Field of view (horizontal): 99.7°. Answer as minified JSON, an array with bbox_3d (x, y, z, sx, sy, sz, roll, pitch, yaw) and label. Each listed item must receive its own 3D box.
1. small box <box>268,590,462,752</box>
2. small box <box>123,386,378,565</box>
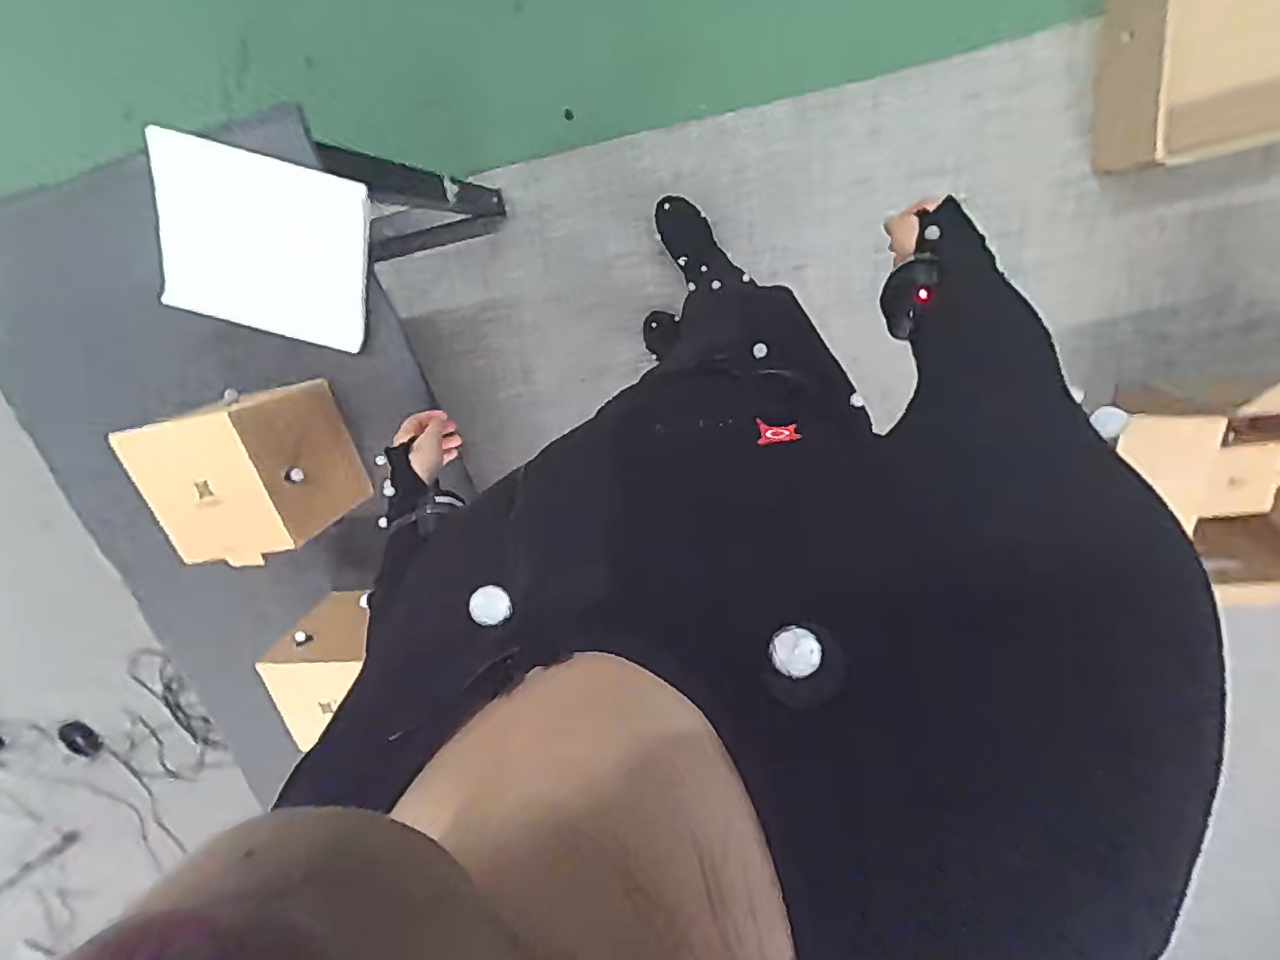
[{"bbox_3d":[-0.401,0.283,0.820,0.179,0.176,0.168,-6,113,9],"label":"small box"},{"bbox_3d":[-0.483,-0.015,0.702,0.168,0.176,0.179,-9,113,11],"label":"small box"}]
